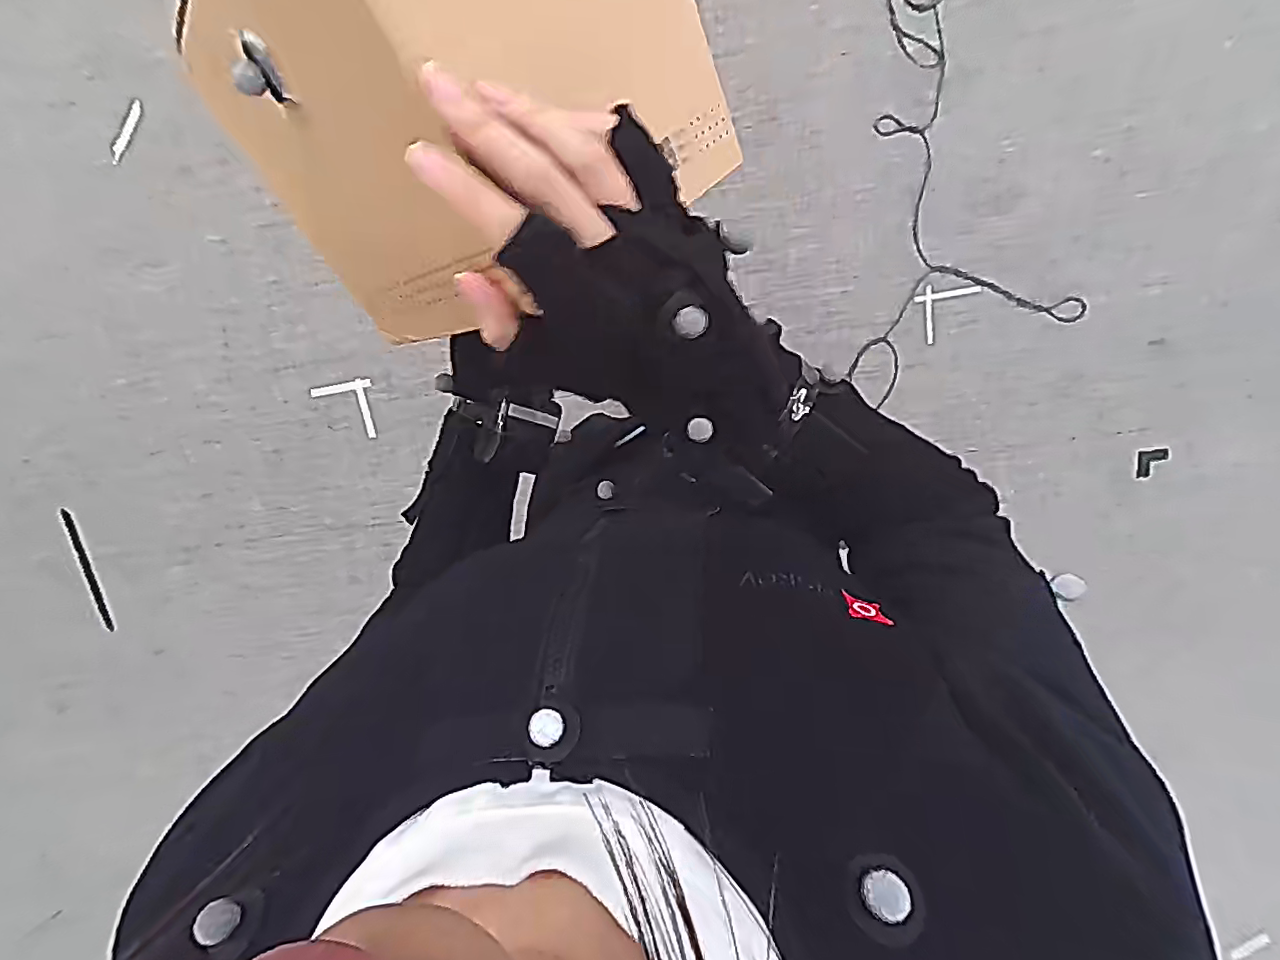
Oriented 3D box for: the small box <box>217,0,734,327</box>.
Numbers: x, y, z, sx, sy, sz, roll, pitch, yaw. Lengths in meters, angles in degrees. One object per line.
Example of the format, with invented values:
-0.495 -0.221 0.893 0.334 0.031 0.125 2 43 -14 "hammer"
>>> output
-0.082 -0.199 0.295 0.168 0.179 0.176 -47 124 -25 "small box"
